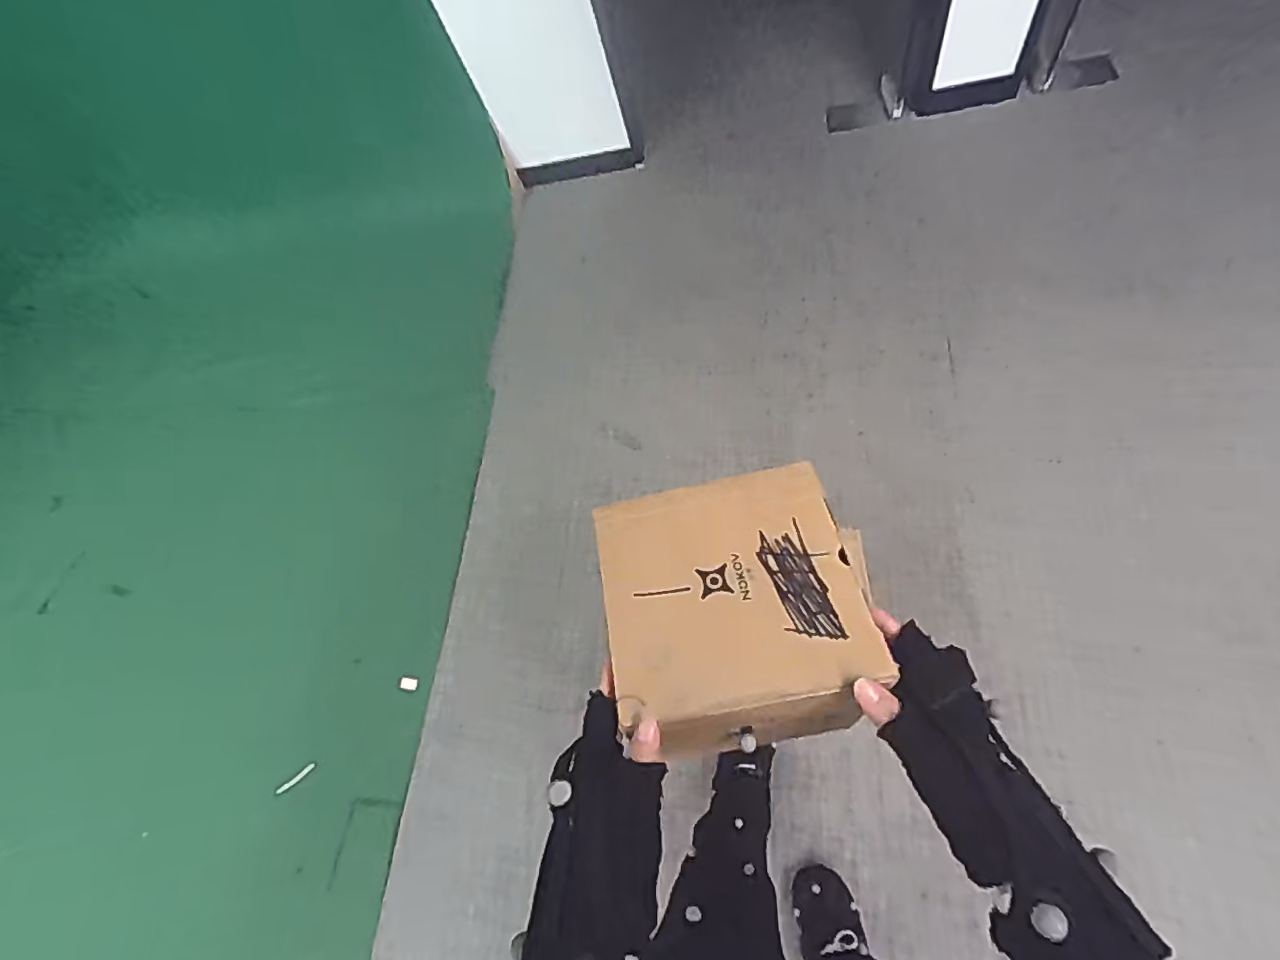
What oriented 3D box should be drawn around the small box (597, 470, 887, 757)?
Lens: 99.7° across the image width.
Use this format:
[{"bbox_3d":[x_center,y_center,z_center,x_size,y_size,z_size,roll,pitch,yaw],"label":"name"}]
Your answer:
[{"bbox_3d":[0.072,0.118,0.449,0.179,0.176,0.168,-12,54,3],"label":"small box"}]
